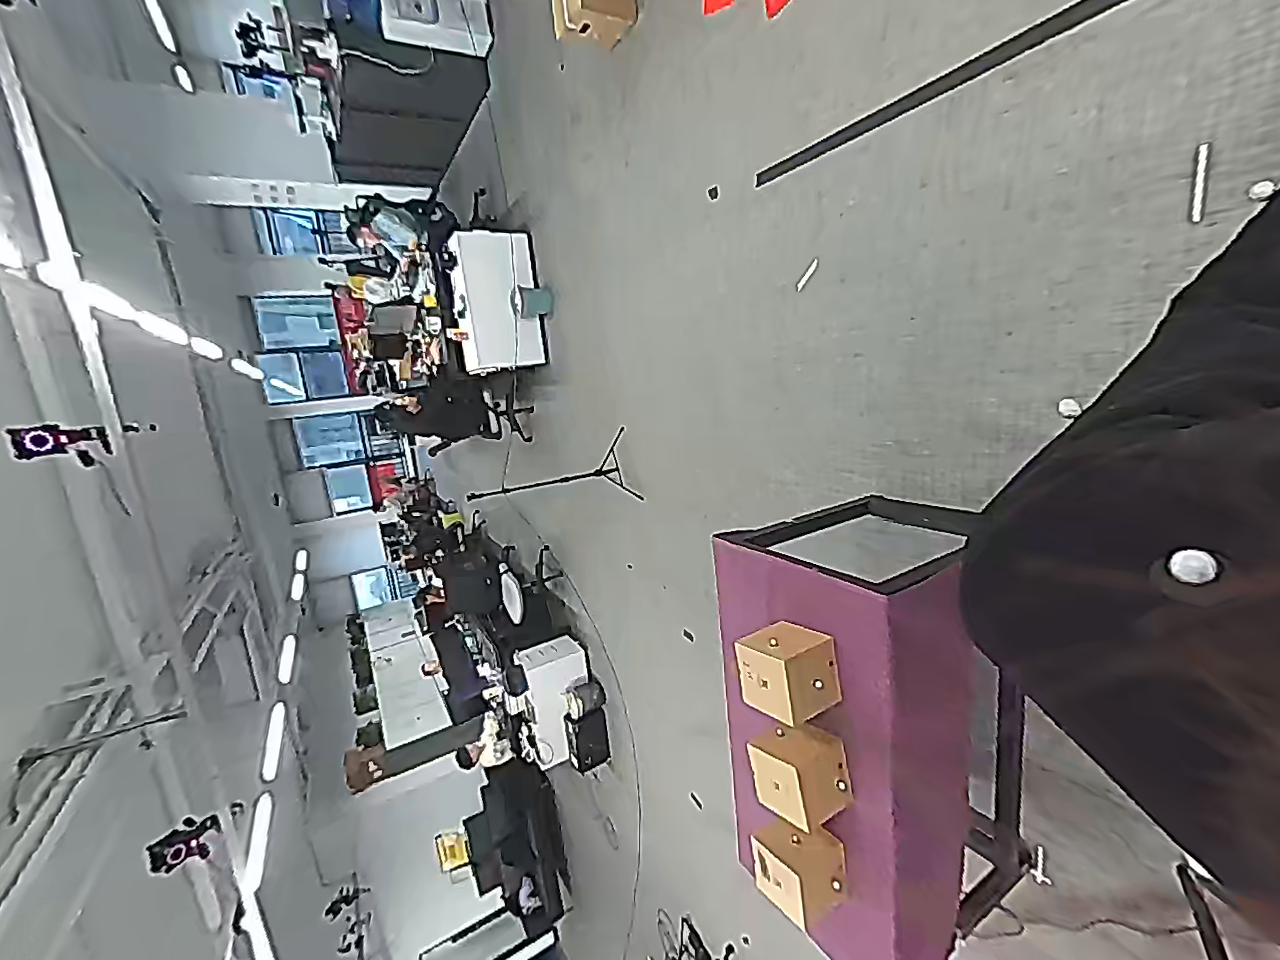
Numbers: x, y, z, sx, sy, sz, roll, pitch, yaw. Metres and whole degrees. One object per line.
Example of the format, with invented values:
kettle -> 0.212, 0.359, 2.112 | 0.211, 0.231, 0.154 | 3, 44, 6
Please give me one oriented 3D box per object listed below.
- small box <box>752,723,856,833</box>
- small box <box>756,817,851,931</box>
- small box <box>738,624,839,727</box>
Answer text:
small box -> 0.417, 0.746, 1.384 | 0.179, 0.176, 0.168 | -7, 96, 62
small box -> 0.441, 1.041, 1.462 | 0.179, 0.176, 0.168 | 6, 106, 60
small box -> 0.374, 0.475, 1.347 | 0.179, 0.176, 0.168 | 1, 102, 62
